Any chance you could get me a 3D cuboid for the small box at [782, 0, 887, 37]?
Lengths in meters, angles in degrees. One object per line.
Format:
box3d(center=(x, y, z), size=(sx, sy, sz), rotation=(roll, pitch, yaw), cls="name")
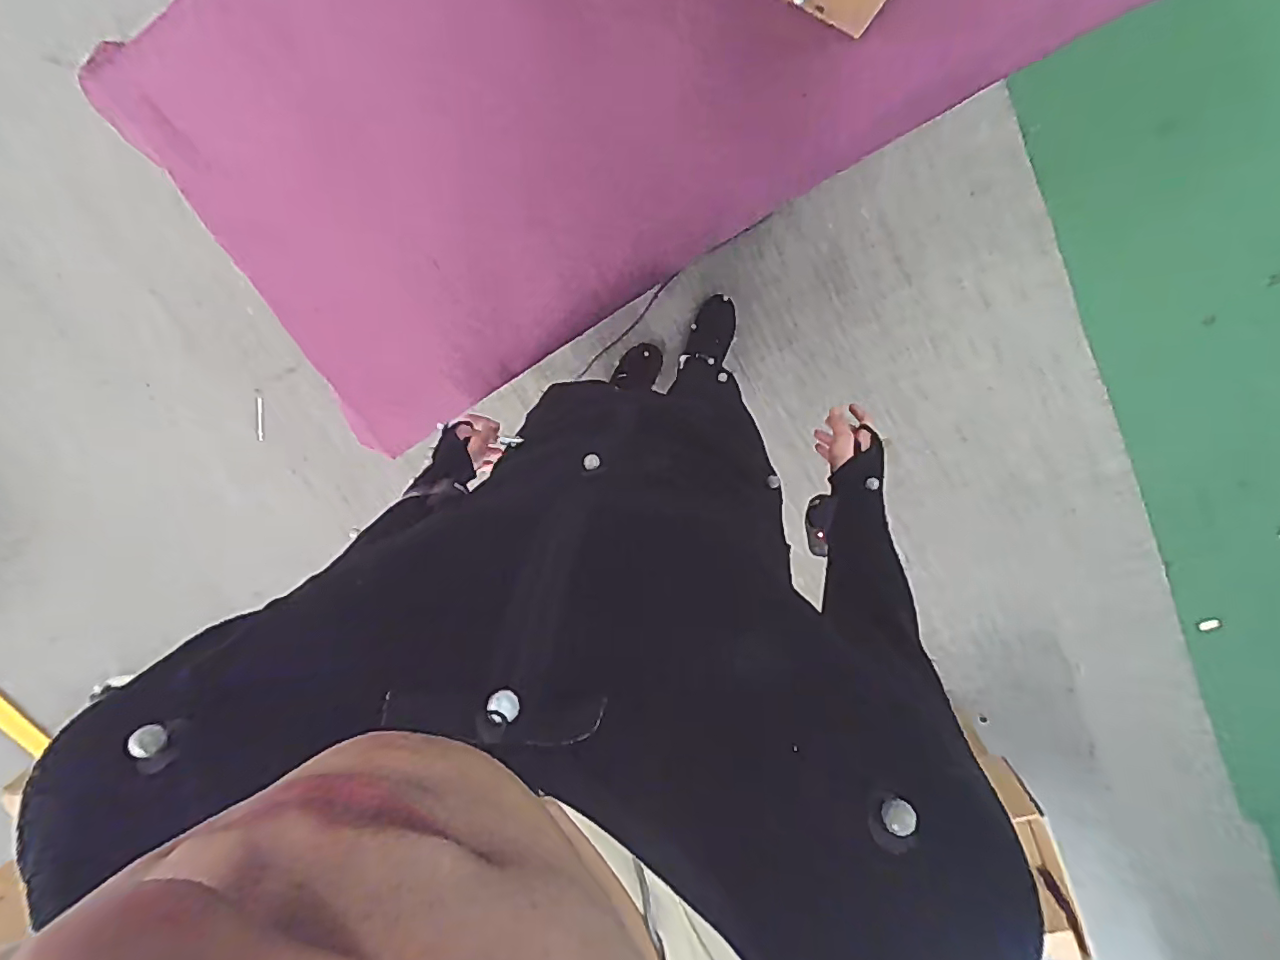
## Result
box3d(center=(0.225, -0.621, 0.558), size=(0.168, 0.176, 0.179), rotation=(25, 111, -5), cls="small box")
